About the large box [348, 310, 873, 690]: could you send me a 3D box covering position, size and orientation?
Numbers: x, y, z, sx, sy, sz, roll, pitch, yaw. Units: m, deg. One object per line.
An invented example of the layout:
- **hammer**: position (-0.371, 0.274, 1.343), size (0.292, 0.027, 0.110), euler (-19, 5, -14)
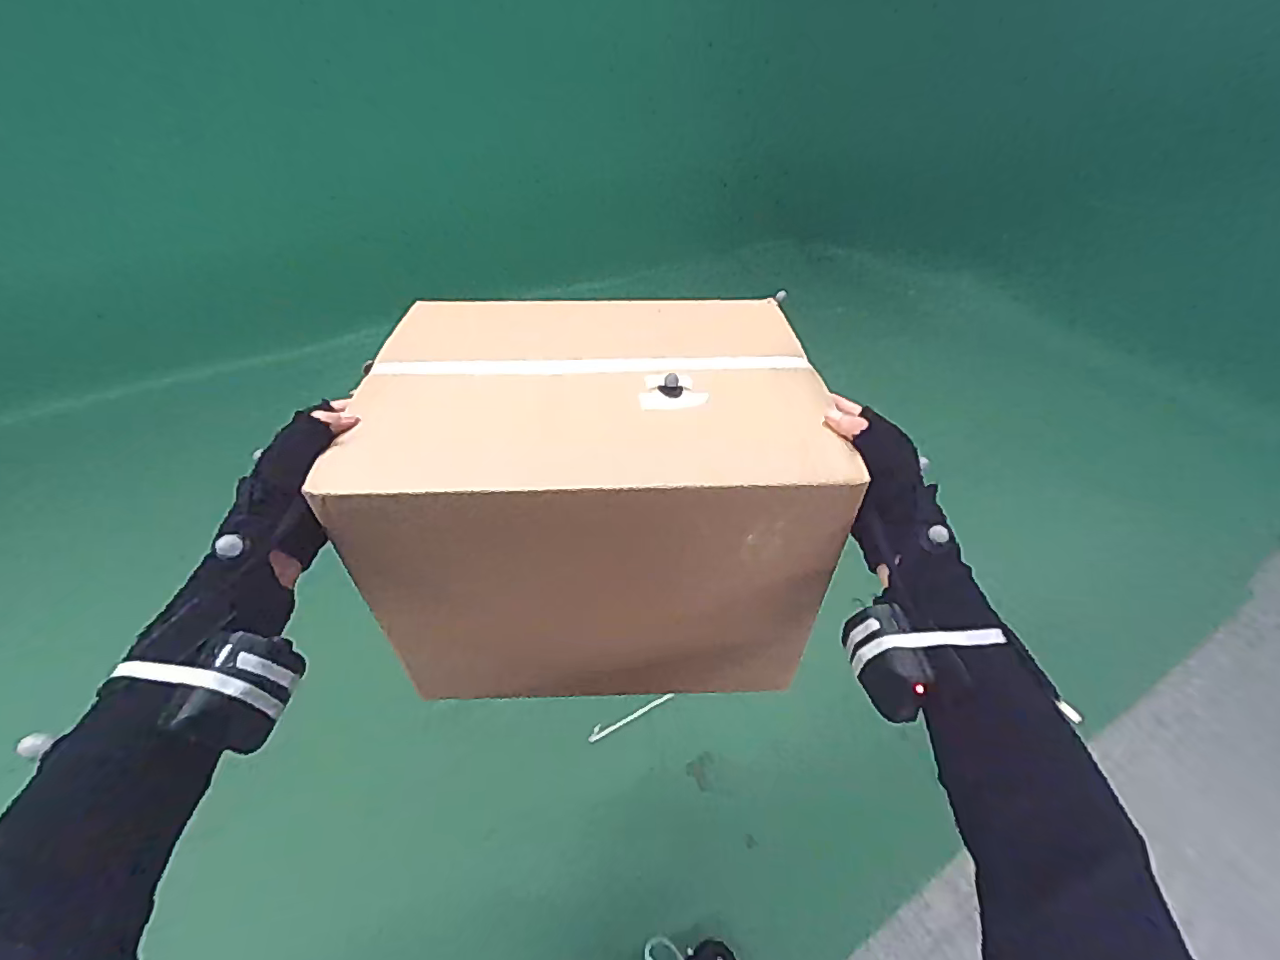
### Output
- **large box**: position (-0.028, 0.017, 0.610), size (0.408, 0.320, 0.320), euler (0, 43, -2)
